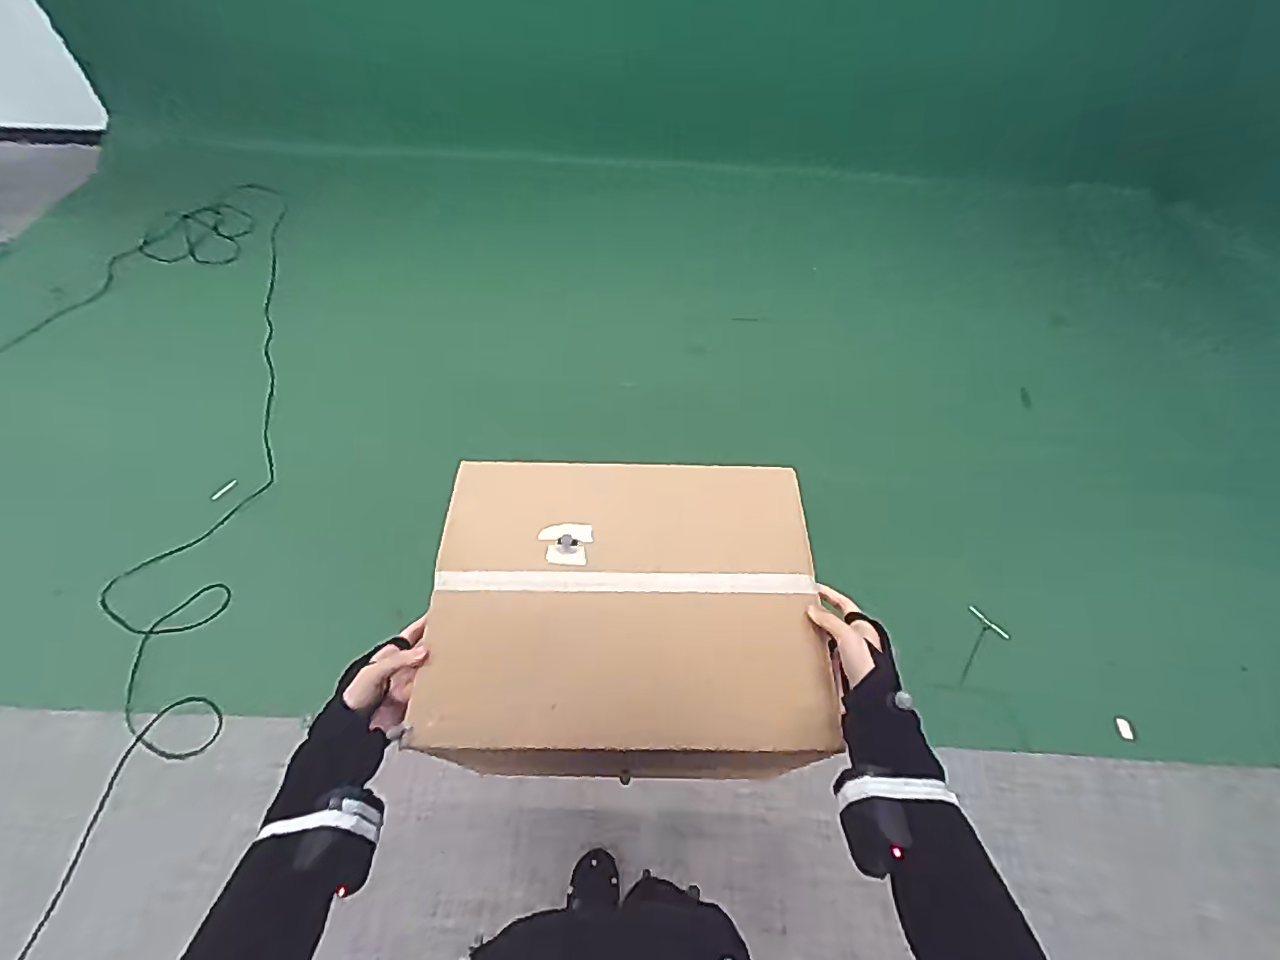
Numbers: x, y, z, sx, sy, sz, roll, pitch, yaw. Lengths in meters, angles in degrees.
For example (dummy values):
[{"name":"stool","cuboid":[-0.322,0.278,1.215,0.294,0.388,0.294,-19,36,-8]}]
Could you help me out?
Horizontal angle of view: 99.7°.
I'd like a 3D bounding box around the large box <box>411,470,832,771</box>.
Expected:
[{"name":"large box","cuboid":[-0.017,0.198,0.709,0.408,0.320,0.320,0,57,0]}]
